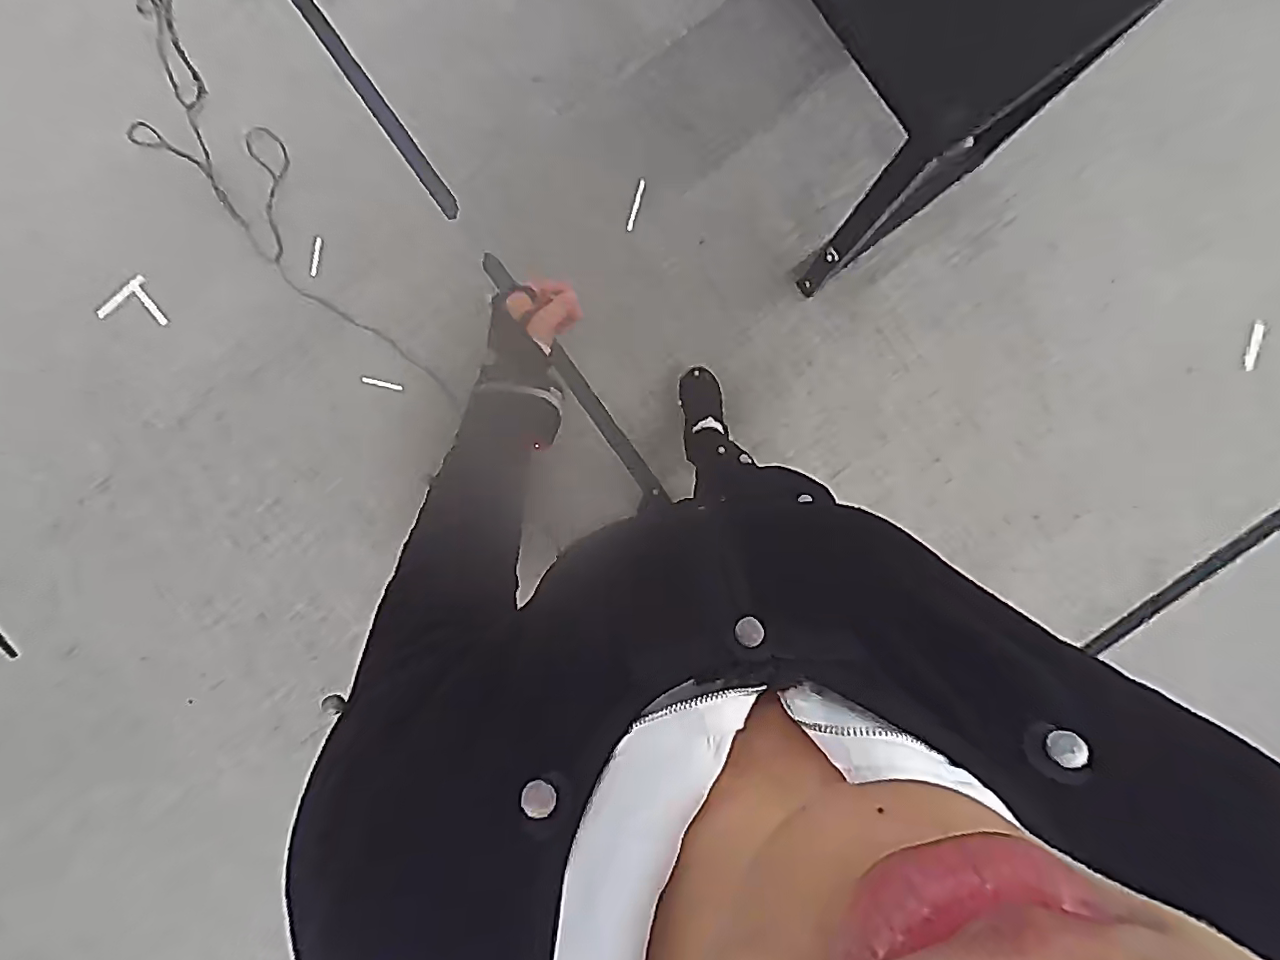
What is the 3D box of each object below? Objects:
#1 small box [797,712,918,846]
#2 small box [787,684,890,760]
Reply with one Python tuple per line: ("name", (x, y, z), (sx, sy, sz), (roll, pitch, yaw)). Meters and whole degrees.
("small box", (0.493, 0.681, 1.252), (0.168, 0.176, 0.179), (-38, 91, 4))
("small box", (0.505, 0.674, 1.415), (0.179, 0.176, 0.168), (-37, 91, 3))
